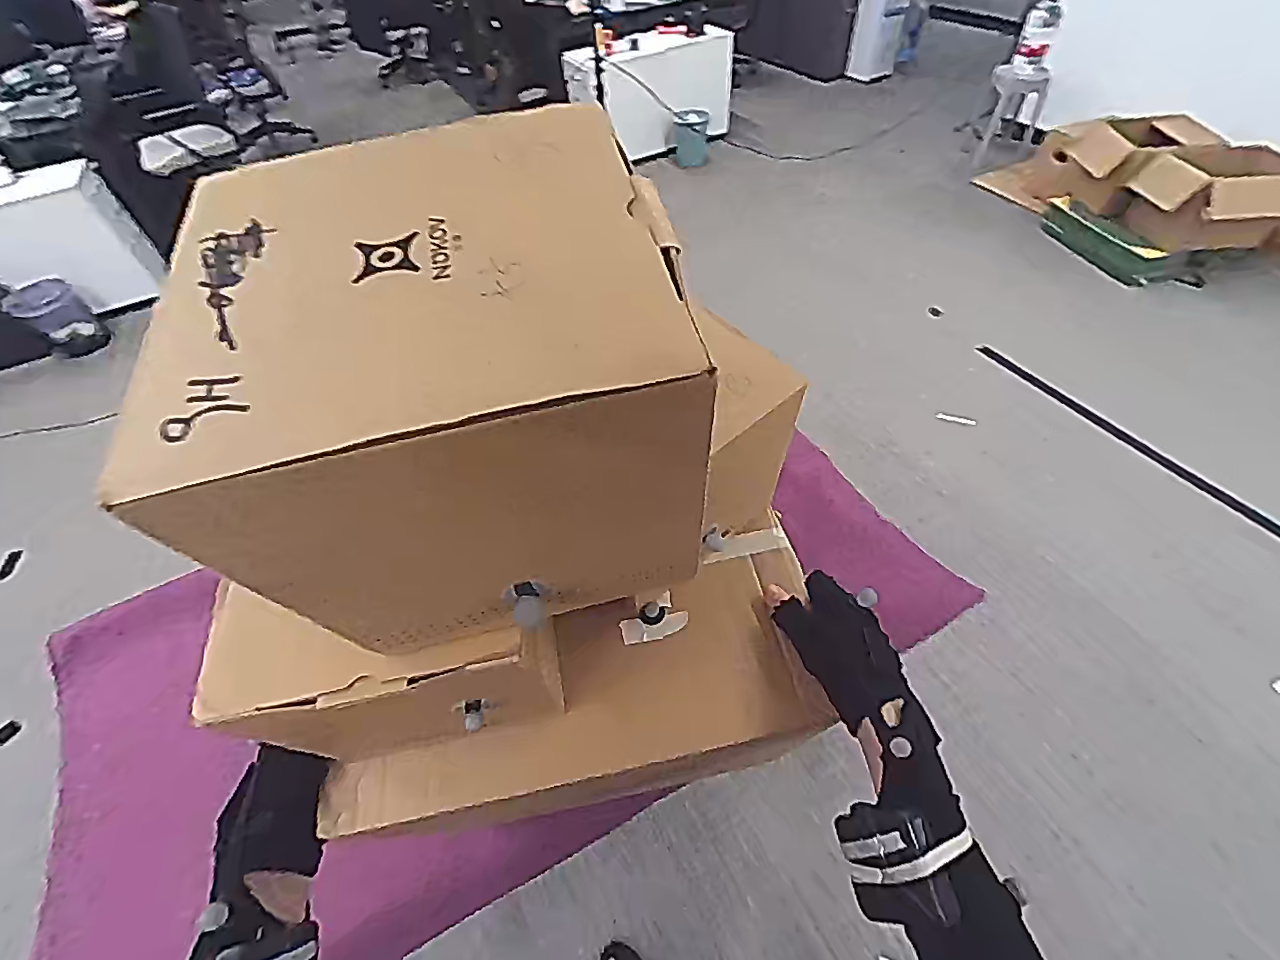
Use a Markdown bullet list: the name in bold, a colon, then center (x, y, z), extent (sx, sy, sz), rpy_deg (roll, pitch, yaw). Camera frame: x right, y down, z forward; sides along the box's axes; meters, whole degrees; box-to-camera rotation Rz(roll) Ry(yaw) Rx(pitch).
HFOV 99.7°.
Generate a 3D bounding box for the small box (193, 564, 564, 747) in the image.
- **small box**: center (-0.151, 0.075, 0.379), extent (0.168, 0.176, 0.179), rpy_deg (-9, 57, -6)

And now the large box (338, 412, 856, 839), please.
- **large box**: center (-0.053, 0.169, 0.604), extent (0.408, 0.320, 0.320), rpy_deg (-11, 59, -6)

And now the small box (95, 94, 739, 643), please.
- **small box**: center (-0.070, -0.040, 0.254), extent (0.179, 0.176, 0.168), rpy_deg (-12, 58, -5)
